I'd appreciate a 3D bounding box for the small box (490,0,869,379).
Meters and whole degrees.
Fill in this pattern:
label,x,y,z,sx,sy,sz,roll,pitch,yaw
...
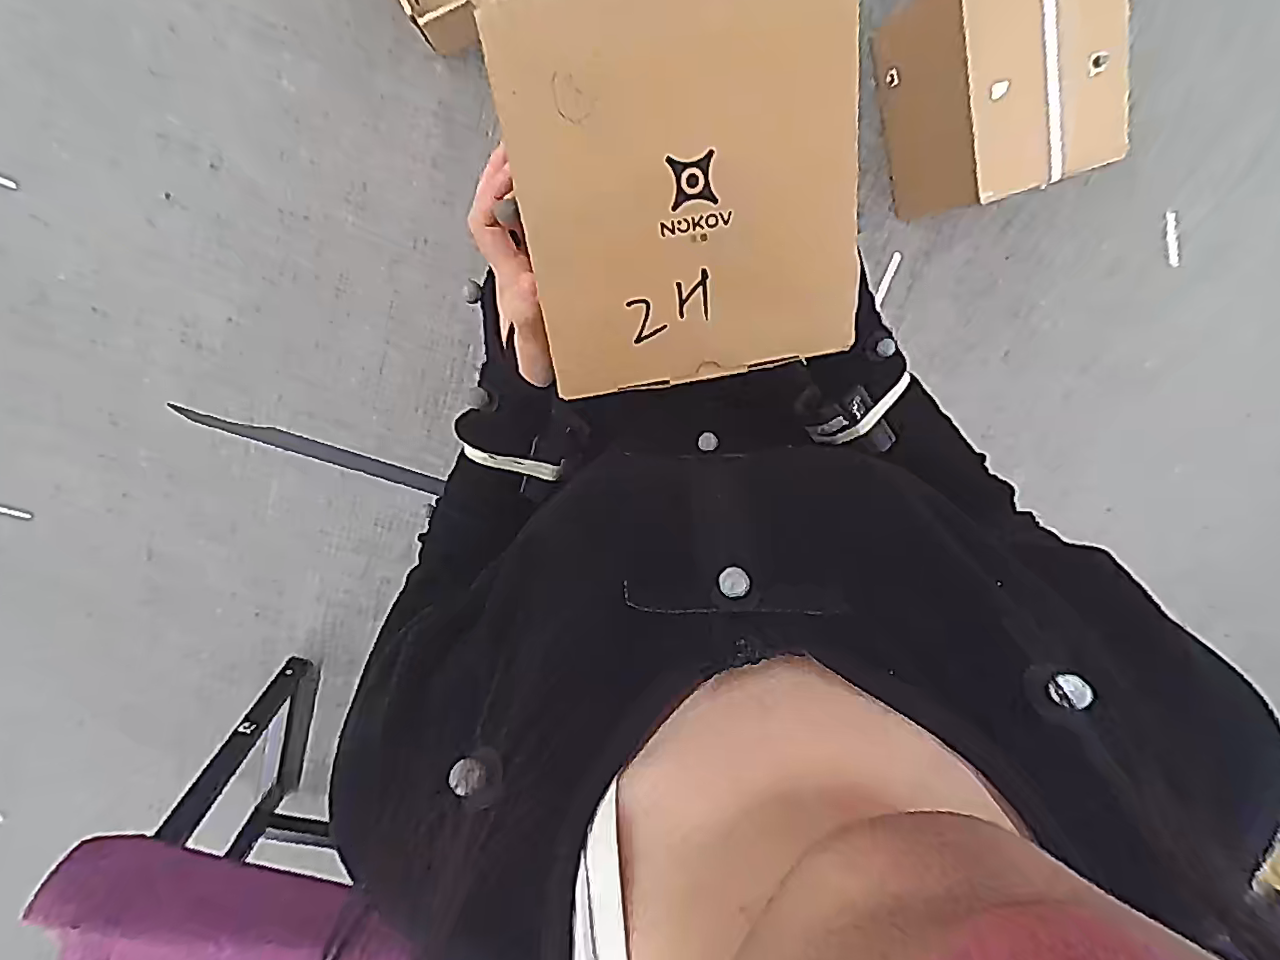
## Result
label,x,y,z,sx,sy,sz,roll,pitch,yaw
small box,0.018,-0.178,0.329,0.168,0.176,0.179,-11,116,-2
